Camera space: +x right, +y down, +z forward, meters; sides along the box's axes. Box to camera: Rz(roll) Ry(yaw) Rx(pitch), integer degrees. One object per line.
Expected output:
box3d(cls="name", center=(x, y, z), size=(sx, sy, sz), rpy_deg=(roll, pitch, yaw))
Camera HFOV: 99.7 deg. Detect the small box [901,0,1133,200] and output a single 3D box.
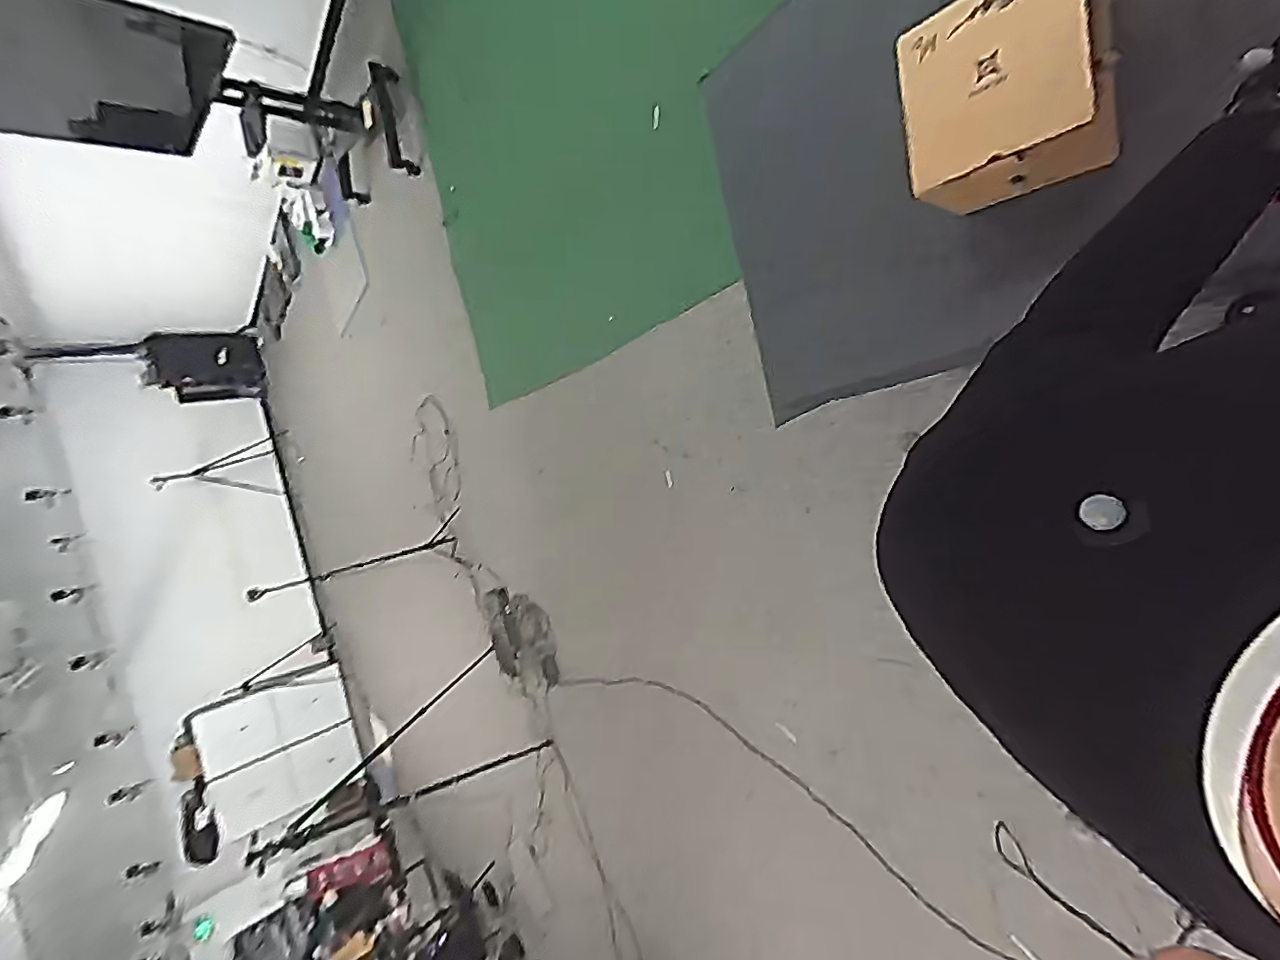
box3d(cls="small box", center=(0.427, -0.440, 0.611), size=(0.168, 0.176, 0.179), rpy_deg=(-7, 95, 51))
